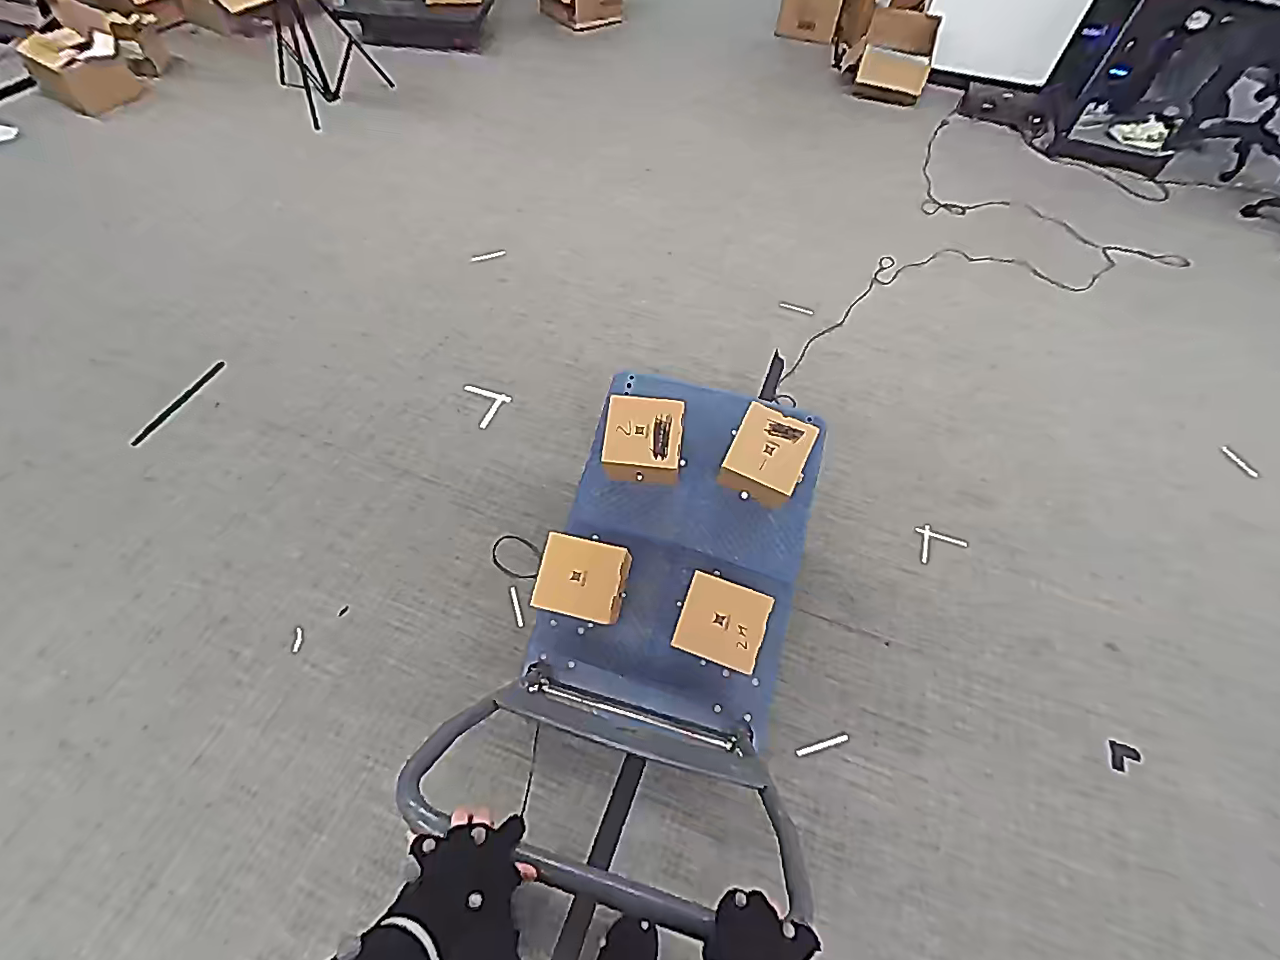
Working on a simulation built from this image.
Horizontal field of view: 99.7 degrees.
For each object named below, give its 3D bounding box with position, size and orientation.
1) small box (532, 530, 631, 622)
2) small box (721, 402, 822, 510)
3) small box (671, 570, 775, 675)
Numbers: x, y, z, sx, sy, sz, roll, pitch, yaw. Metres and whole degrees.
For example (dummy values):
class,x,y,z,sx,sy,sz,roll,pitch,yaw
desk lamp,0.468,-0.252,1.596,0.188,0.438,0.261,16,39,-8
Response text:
class,x,y,z,sx,sy,sz,roll,pitch,yaw
small box,-0.125,0.225,1.234,0.179,0.176,0.168,13,76,5
small box,0.302,-0.051,1.283,0.168,0.176,0.179,26,79,9
small box,0.177,0.313,1.193,0.179,0.176,0.168,20,78,8
